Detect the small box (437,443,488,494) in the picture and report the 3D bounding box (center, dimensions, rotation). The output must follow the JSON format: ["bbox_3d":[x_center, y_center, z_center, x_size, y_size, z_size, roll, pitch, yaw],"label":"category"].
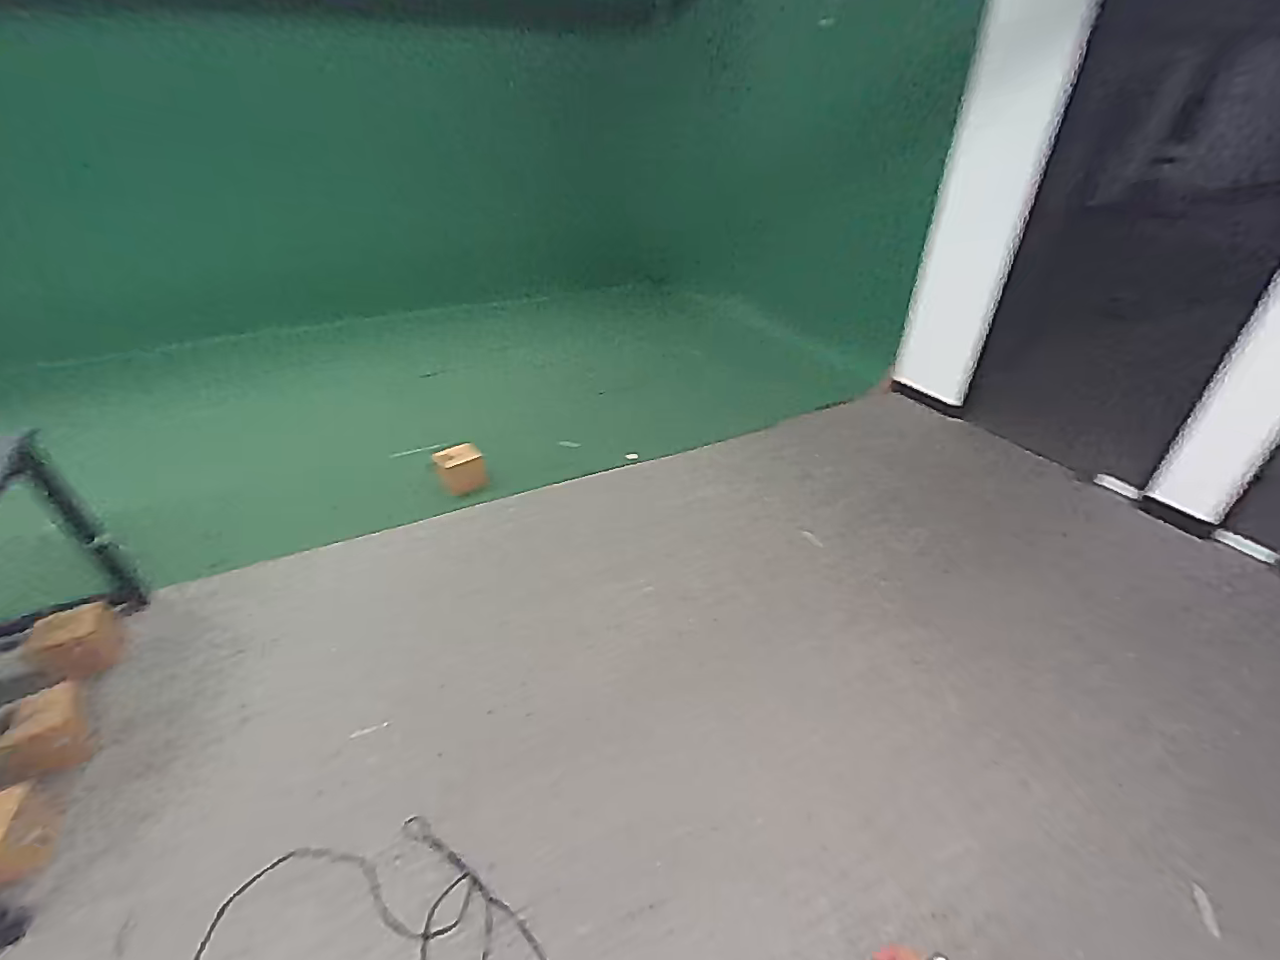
[{"bbox_3d":[-0.864,-0.054,2.643,0.179,0.176,0.168,-25,42,-33],"label":"small box"}]

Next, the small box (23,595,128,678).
[{"bbox_3d":[-1.879,0.523,1.814,0.179,0.176,0.168,-18,38,-24],"label":"small box"}]
